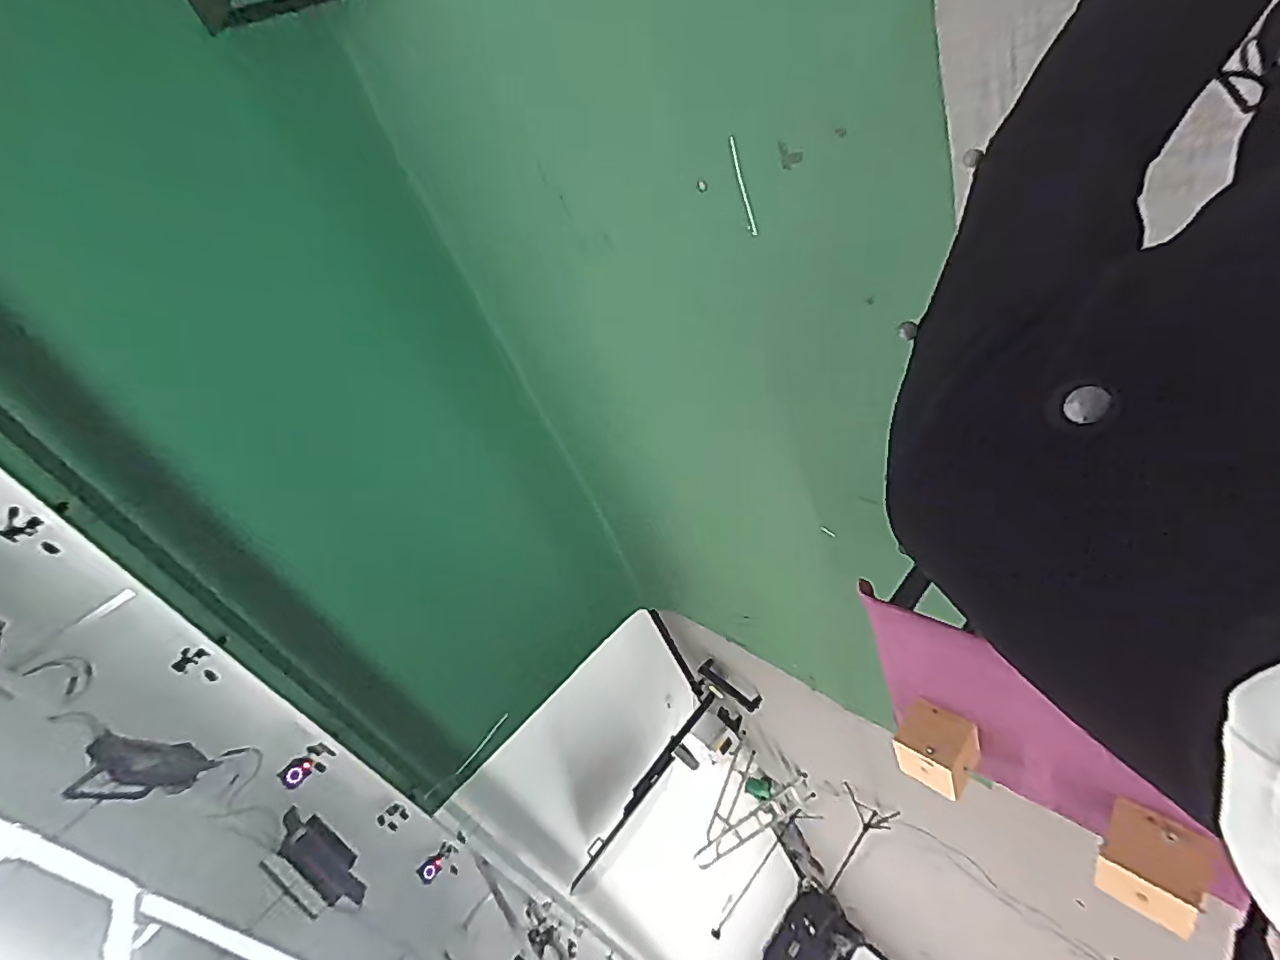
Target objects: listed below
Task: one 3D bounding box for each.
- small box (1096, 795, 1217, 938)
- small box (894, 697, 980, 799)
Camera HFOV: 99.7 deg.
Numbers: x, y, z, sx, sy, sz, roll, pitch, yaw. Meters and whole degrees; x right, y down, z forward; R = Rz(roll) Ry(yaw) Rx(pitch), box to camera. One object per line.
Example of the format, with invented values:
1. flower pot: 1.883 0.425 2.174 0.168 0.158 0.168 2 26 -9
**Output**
1. small box: 1.177 0.875 1.237 0.168 0.176 0.179 16 139 49
2. small box: 0.878 0.781 1.590 0.168 0.176 0.179 14 139 50
